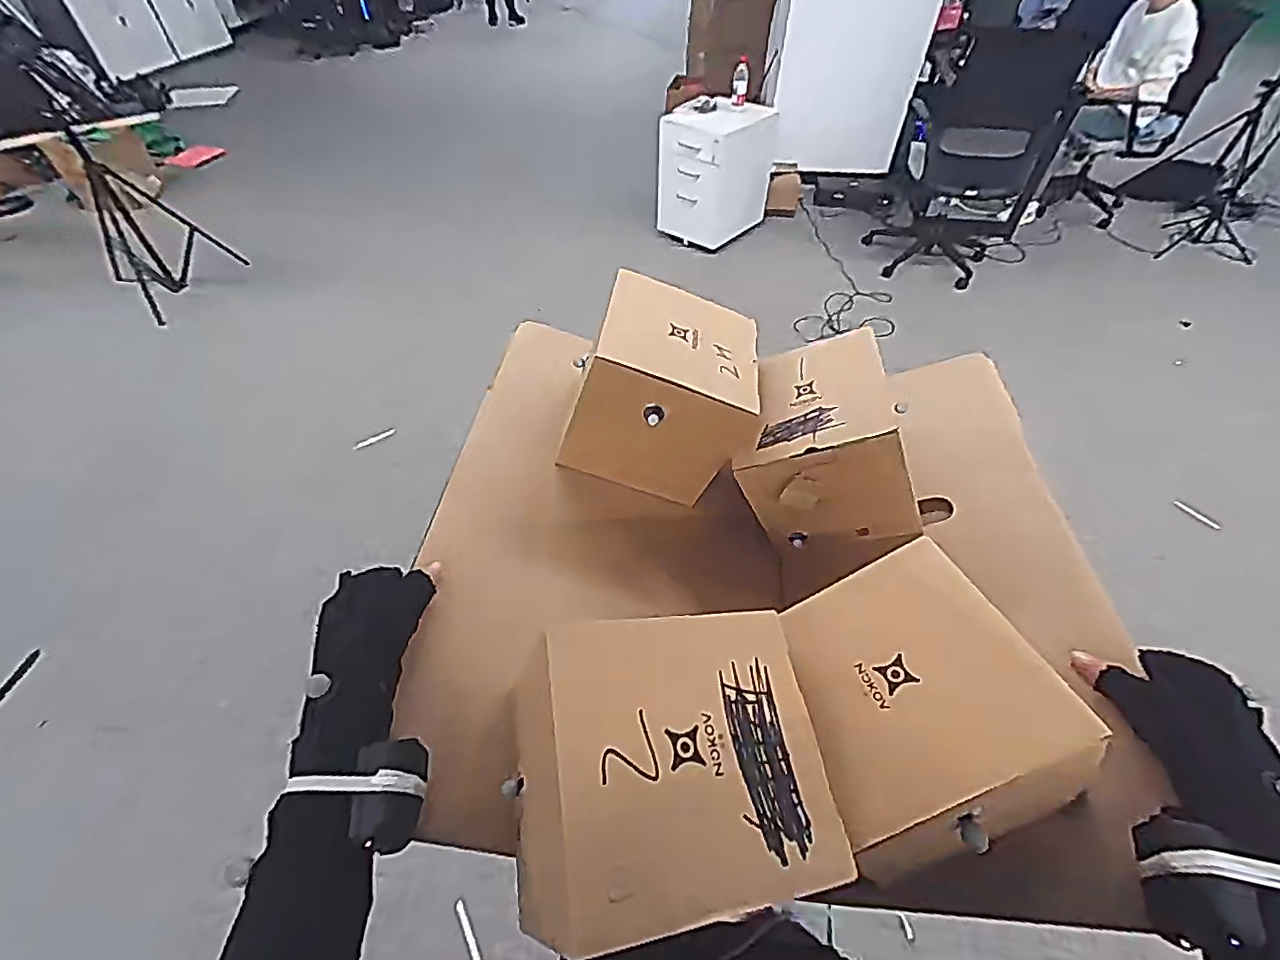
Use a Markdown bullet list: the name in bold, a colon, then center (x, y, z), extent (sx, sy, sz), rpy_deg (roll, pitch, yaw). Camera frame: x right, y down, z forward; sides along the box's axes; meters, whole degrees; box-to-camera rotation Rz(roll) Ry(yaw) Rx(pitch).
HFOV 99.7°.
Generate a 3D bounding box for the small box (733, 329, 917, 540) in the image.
- **small box**: center (0.221, -0.042, 0.650), extent (0.168, 0.176, 0.179), rpy_deg (-13, 44, 26)
